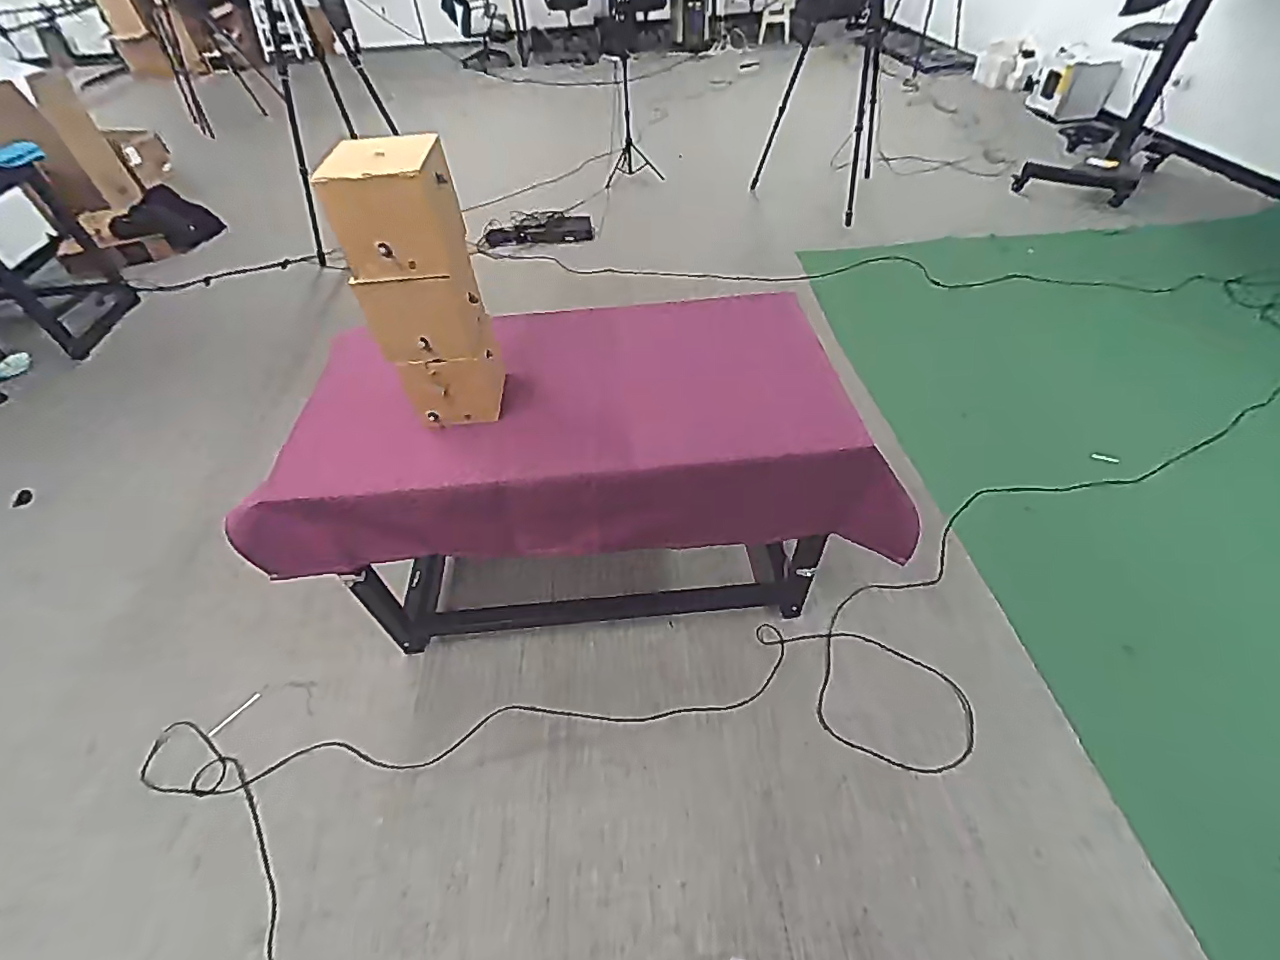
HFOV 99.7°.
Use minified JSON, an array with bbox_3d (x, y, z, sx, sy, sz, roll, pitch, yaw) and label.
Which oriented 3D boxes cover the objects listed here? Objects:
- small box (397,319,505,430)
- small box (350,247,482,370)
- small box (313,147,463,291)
[{"bbox_3d":[-0.395,-0.221,1.164,0.168,0.176,0.179,-5,47,-1],"label":"small box"},{"bbox_3d":[-0.415,-0.330,1.042,0.179,0.176,0.168,-4,47,-1],"label":"small box"},{"bbox_3d":[-0.413,-0.444,0.925,0.168,0.176,0.179,-6,48,-1],"label":"small box"}]
